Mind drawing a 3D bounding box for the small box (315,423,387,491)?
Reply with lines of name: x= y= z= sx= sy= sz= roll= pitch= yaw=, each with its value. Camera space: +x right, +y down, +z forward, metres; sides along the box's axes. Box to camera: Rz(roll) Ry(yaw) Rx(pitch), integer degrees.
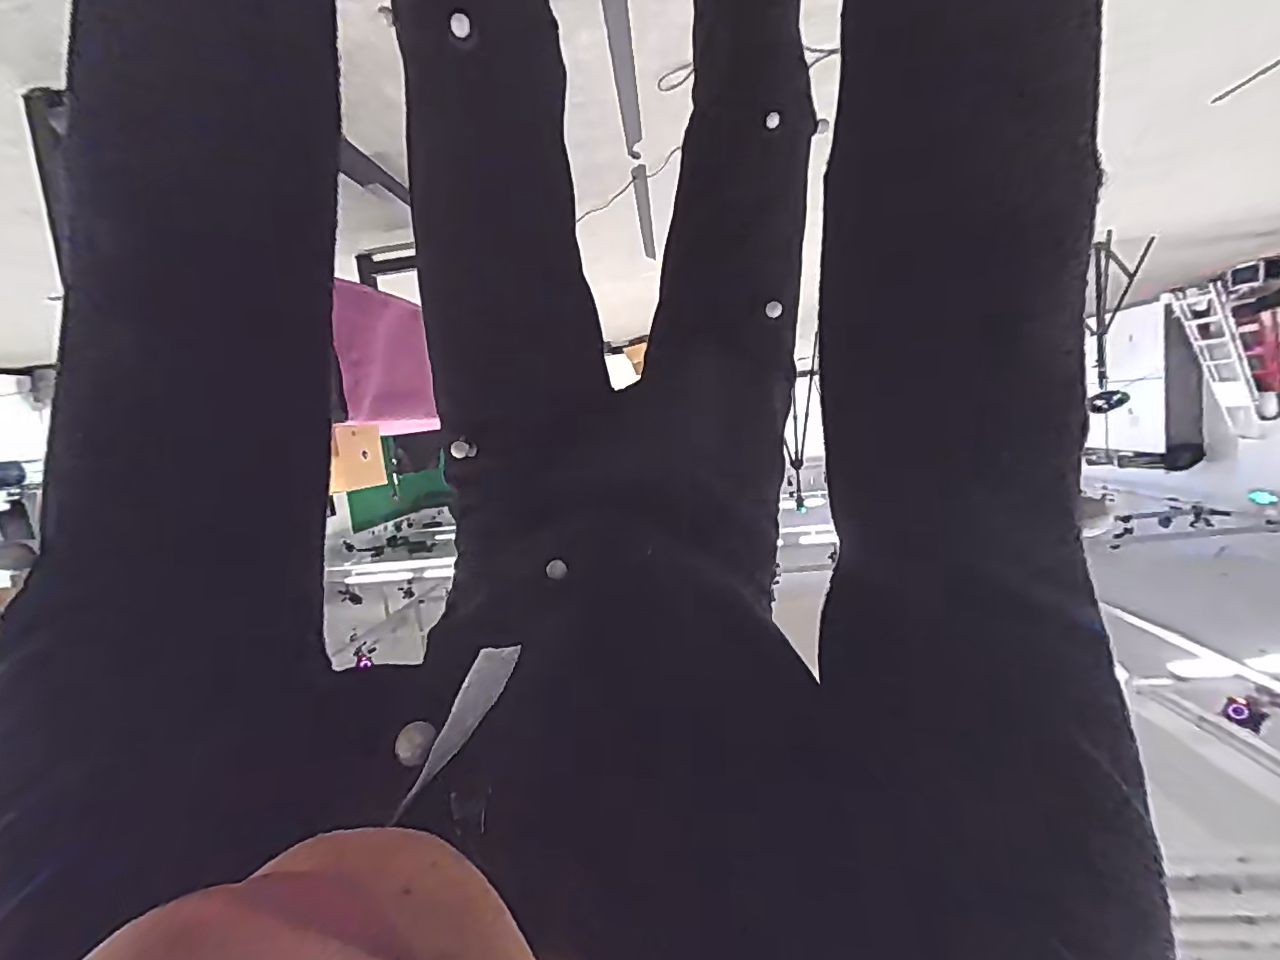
small box: x=-0.819 y=-0.065 z=1.450 sx=0.179 sy=0.176 sz=0.168 roll=-5 pitch=-173 yaw=11
